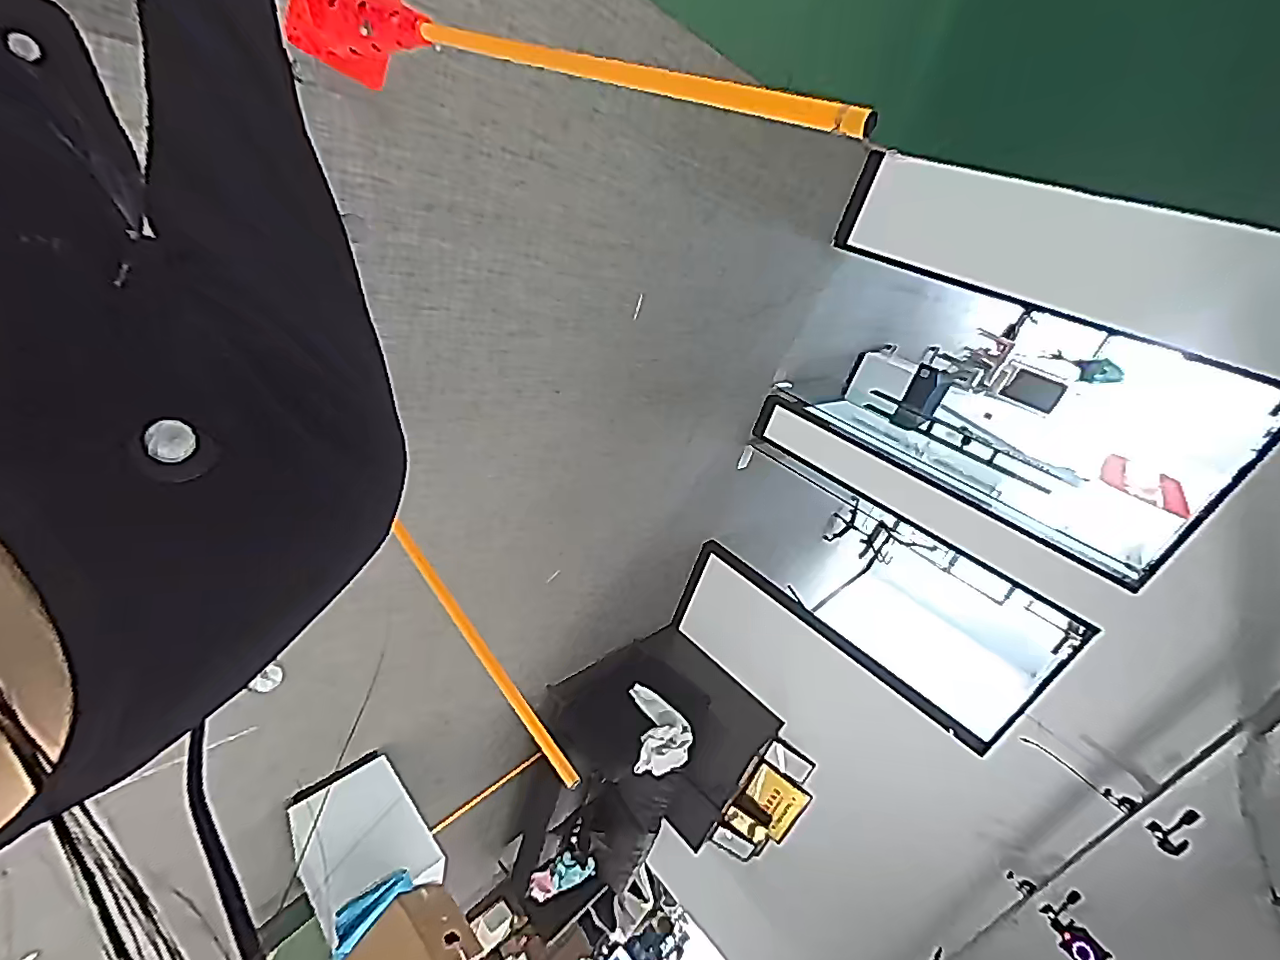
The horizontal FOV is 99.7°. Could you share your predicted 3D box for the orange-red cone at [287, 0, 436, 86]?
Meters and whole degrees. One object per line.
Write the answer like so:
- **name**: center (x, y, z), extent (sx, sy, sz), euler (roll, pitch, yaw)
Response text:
- **orange-red cone**: center (-0.491, -0.880, 1.034), extent (0.198, 0.360, 0.199), euler (1, 121, -53)
